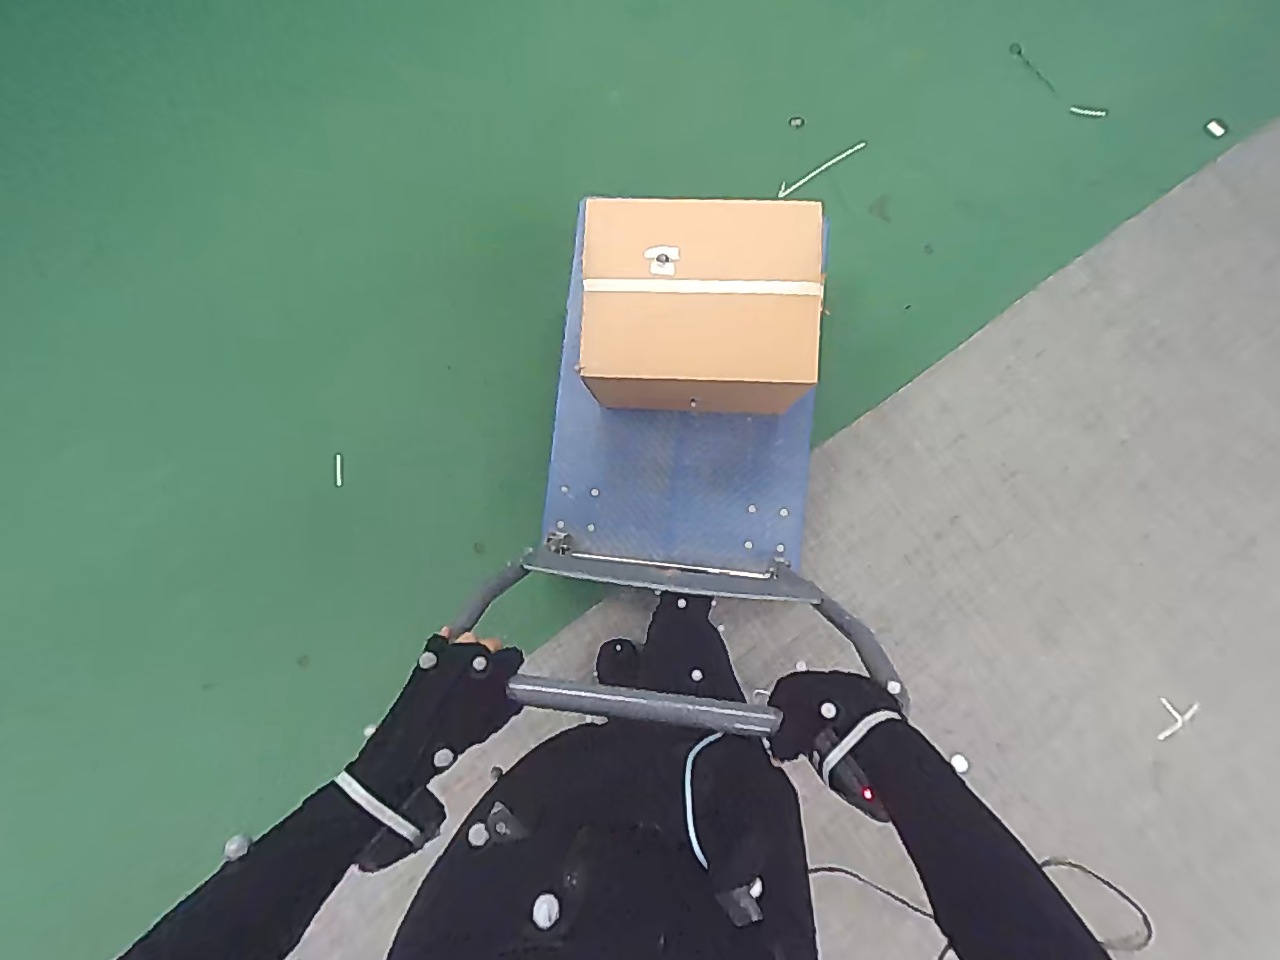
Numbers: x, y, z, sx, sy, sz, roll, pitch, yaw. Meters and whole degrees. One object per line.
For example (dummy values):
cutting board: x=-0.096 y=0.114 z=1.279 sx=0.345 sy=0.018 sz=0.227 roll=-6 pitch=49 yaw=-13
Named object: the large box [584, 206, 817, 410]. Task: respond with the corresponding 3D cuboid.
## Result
large box: x=0.115 y=-0.314 z=1.081 sx=0.408 sy=0.320 sz=0.320 roll=2 pitch=87 yaw=4
